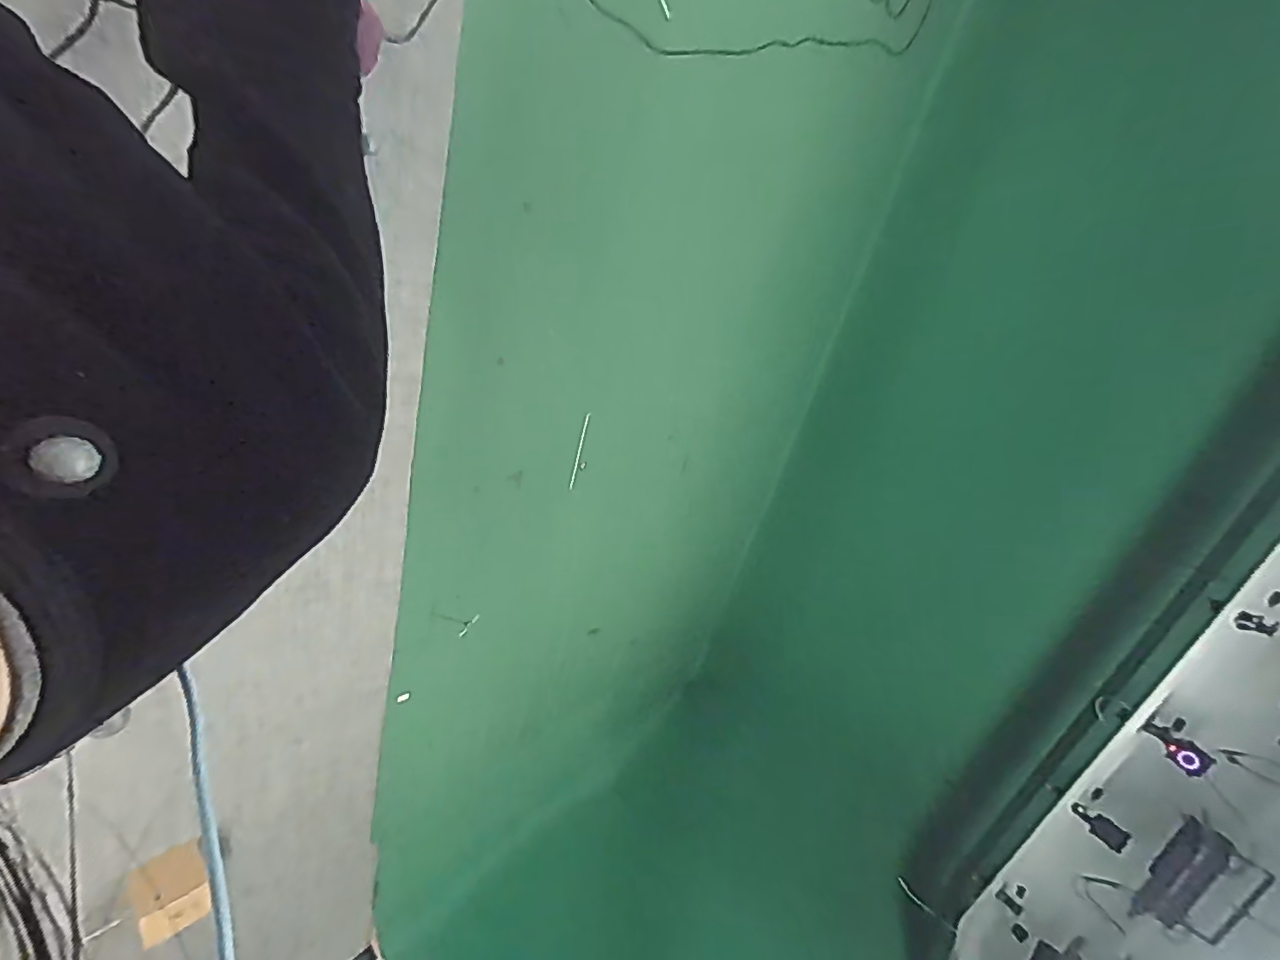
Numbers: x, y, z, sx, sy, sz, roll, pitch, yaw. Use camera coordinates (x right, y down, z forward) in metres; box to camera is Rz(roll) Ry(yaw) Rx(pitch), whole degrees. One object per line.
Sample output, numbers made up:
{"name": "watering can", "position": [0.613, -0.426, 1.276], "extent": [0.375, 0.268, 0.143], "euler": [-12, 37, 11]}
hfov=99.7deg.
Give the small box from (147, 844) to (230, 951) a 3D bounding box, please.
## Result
{"name": "small box", "position": [-1.459, 1.339, 1.747], "extent": [0.179, 0.176, 0.168], "euler": [-15, 127, -49]}
